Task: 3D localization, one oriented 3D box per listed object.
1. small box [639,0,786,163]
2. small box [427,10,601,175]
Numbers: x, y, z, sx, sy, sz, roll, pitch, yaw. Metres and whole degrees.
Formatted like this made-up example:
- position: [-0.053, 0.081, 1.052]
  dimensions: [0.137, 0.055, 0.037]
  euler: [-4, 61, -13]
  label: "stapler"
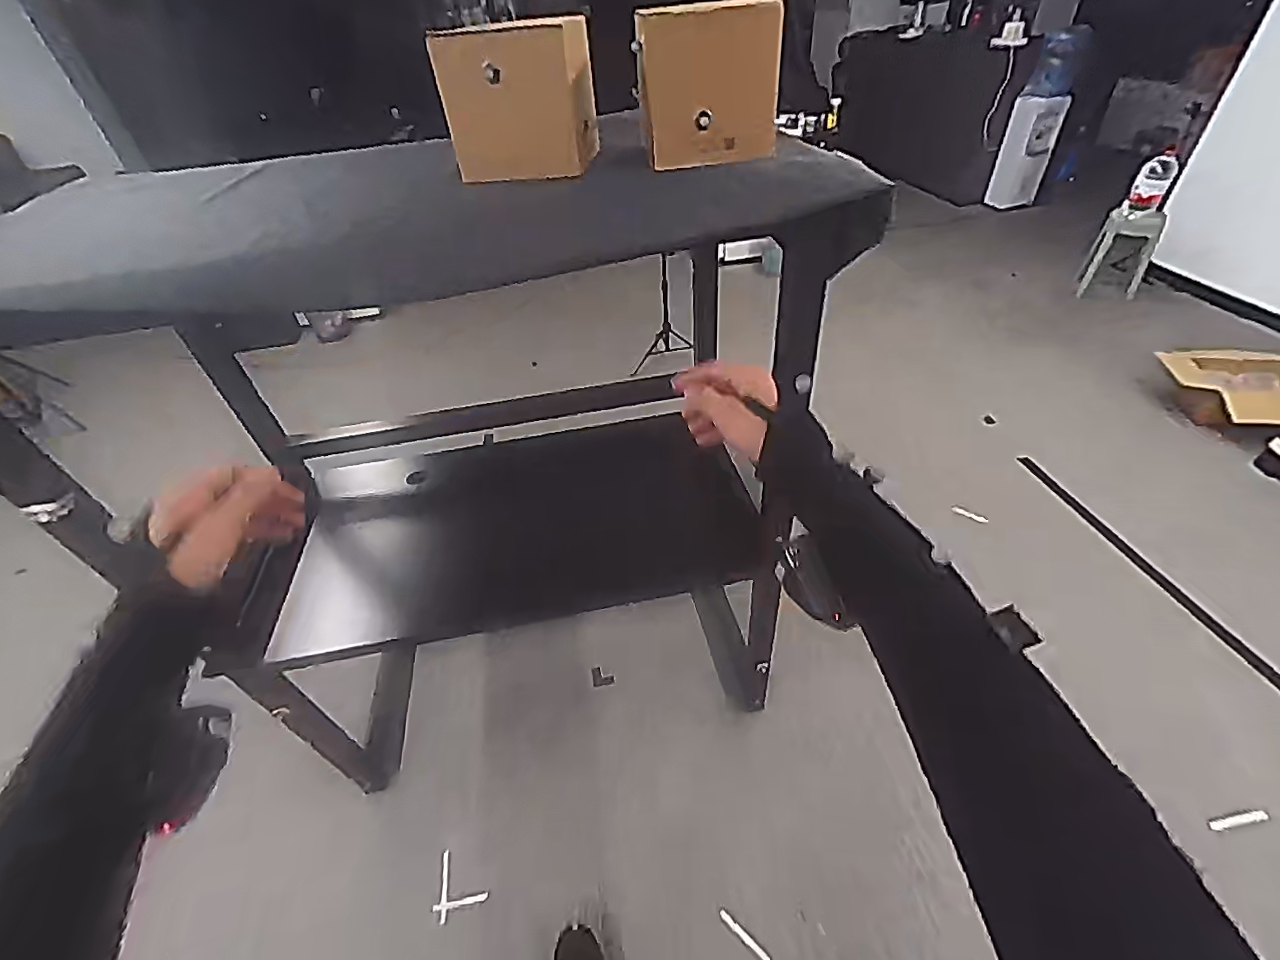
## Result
- position: [0.089, -0.548, 0.739]
  dimensions: [0.168, 0.176, 0.179]
  euler: [-7, 42, 0]
  label: "small box"
- position: [-0.162, -0.541, 0.760]
  dimensions: [0.179, 0.176, 0.168]
  euler: [1, 43, 7]
  label: "small box"
